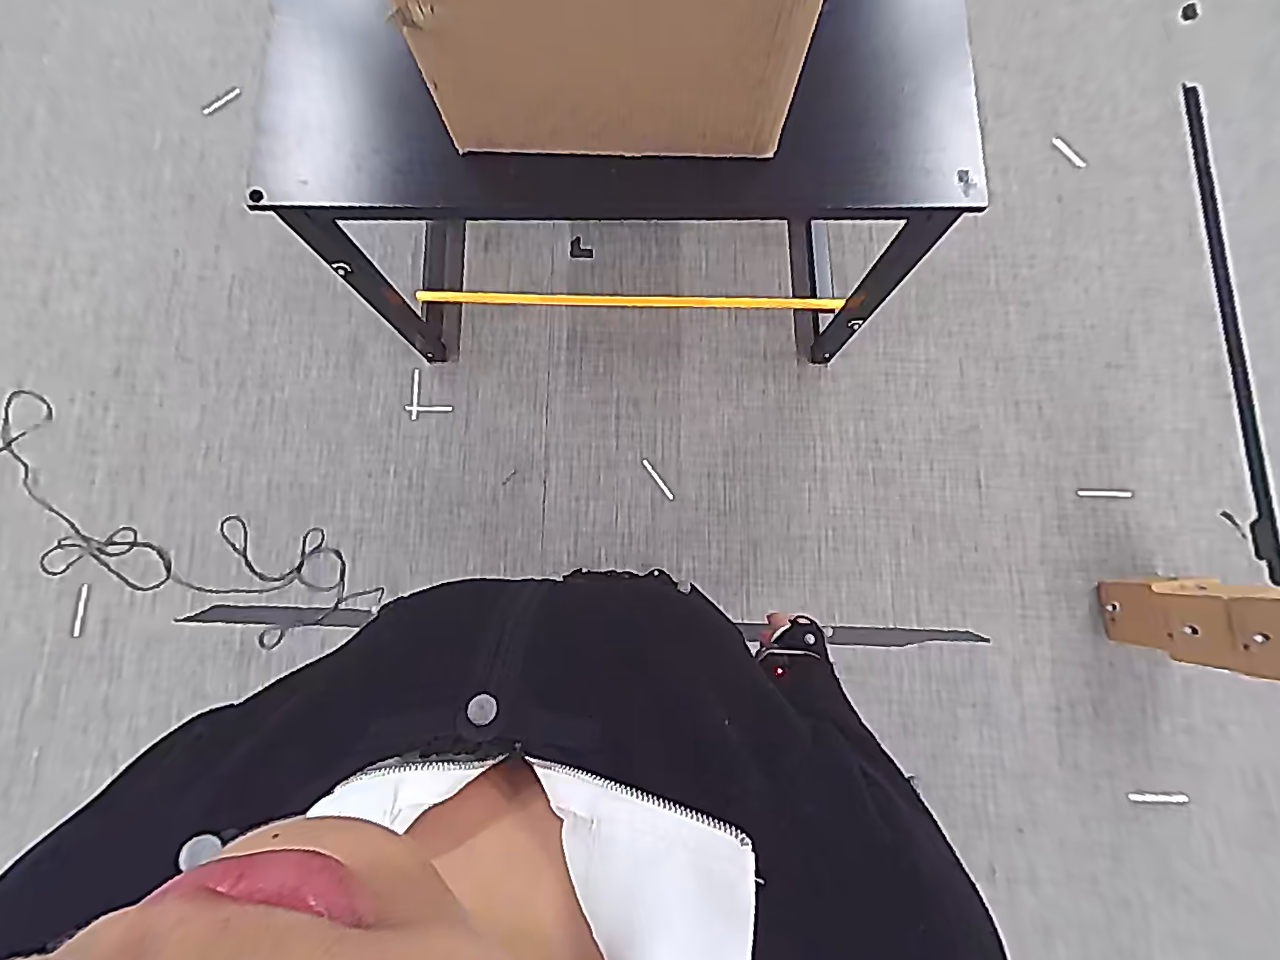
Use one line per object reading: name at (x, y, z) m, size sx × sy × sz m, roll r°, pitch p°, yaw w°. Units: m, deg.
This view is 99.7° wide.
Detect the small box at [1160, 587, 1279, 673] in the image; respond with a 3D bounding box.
small box at (1.354, 0.336, 1.237) m, size 0.179 × 0.176 × 0.168 m, roll -6°, pitch 81°, yaw 0°

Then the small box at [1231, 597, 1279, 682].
small box at (1.357, 0.318, 1.072) m, size 0.179 × 0.176 × 0.168 m, roll -1°, pitch 80°, yaw 0°

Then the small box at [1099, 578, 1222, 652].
small box at (1.356, 0.344, 1.402) m, size 0.179 × 0.176 × 0.168 m, roll -6°, pitch 80°, yaw 1°
